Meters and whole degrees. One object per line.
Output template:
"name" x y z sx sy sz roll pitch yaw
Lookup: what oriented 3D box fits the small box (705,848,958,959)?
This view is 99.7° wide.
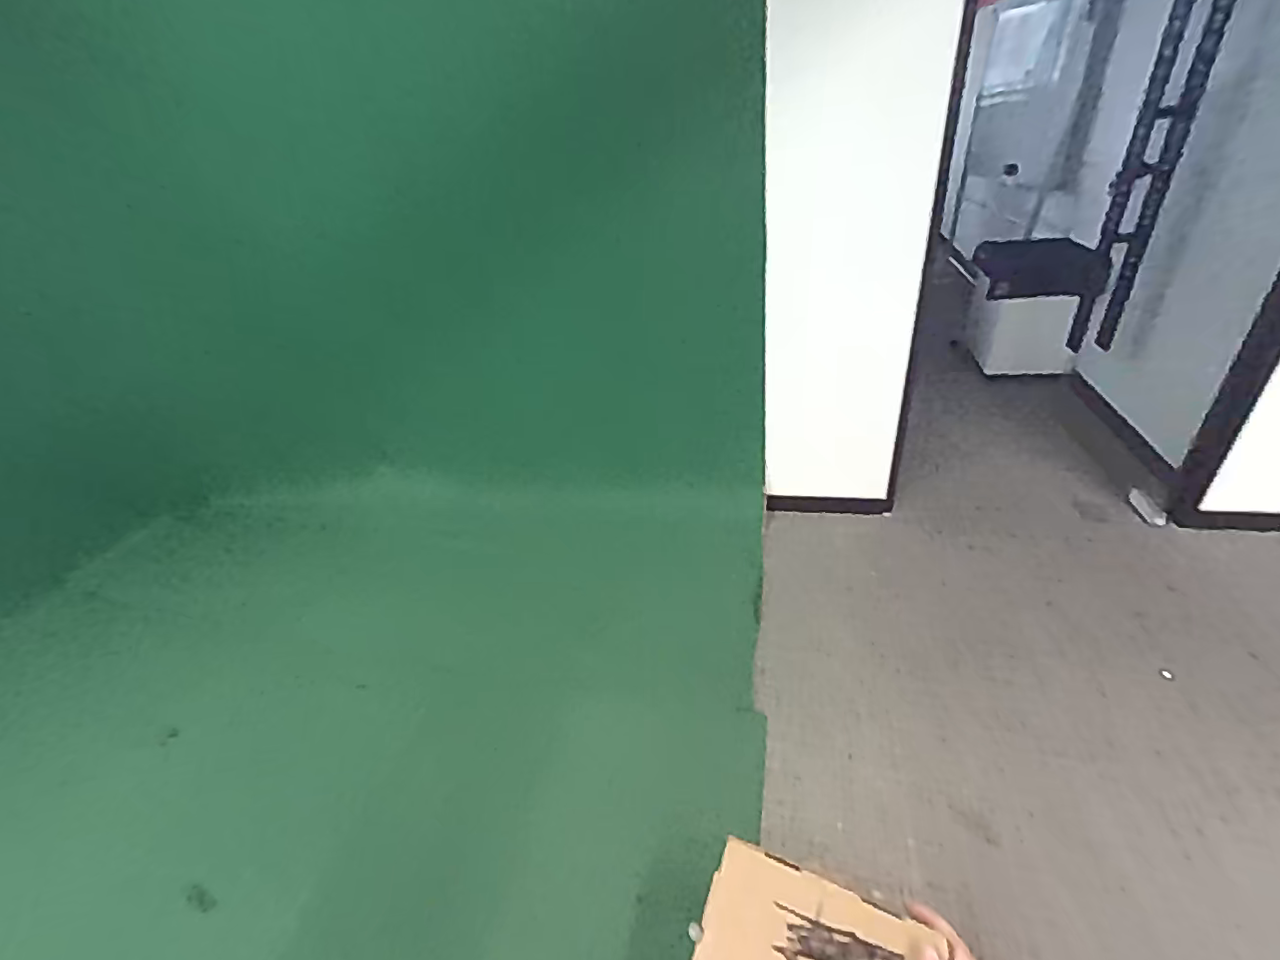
"small box" 0.132 0.425 0.427 0.168 0.176 0.179 12 59 22
